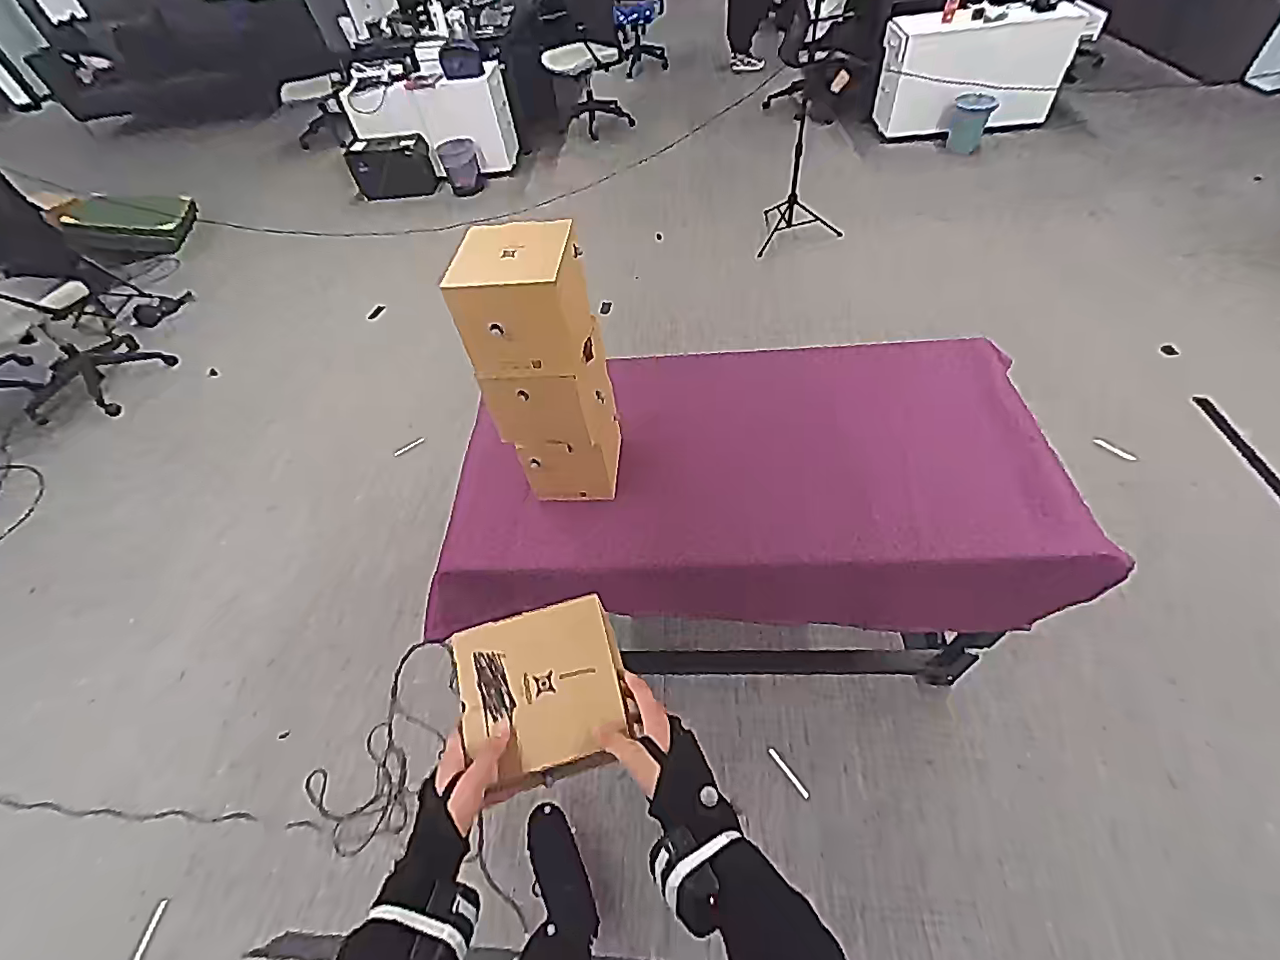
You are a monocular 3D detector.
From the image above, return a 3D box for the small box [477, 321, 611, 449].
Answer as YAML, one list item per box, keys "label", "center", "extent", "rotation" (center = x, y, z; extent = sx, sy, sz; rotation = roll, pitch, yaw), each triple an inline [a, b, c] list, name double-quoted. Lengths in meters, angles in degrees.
- label: "small box"
  center: [-0.162, -0.171, 0.977]
  extent: [0.179, 0.176, 0.168]
  rotation: [5, 52, 10]

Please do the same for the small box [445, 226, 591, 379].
- label: "small box"
  center: [-0.176, -0.271, 0.849]
  extent: [0.168, 0.176, 0.179]
  rotation: [-1, 50, 6]

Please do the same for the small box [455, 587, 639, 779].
- label: "small box"
  center: [-0.108, 0.255, 0.663]
  extent: [0.179, 0.176, 0.168]
  rotation: [-15, 59, -4]
